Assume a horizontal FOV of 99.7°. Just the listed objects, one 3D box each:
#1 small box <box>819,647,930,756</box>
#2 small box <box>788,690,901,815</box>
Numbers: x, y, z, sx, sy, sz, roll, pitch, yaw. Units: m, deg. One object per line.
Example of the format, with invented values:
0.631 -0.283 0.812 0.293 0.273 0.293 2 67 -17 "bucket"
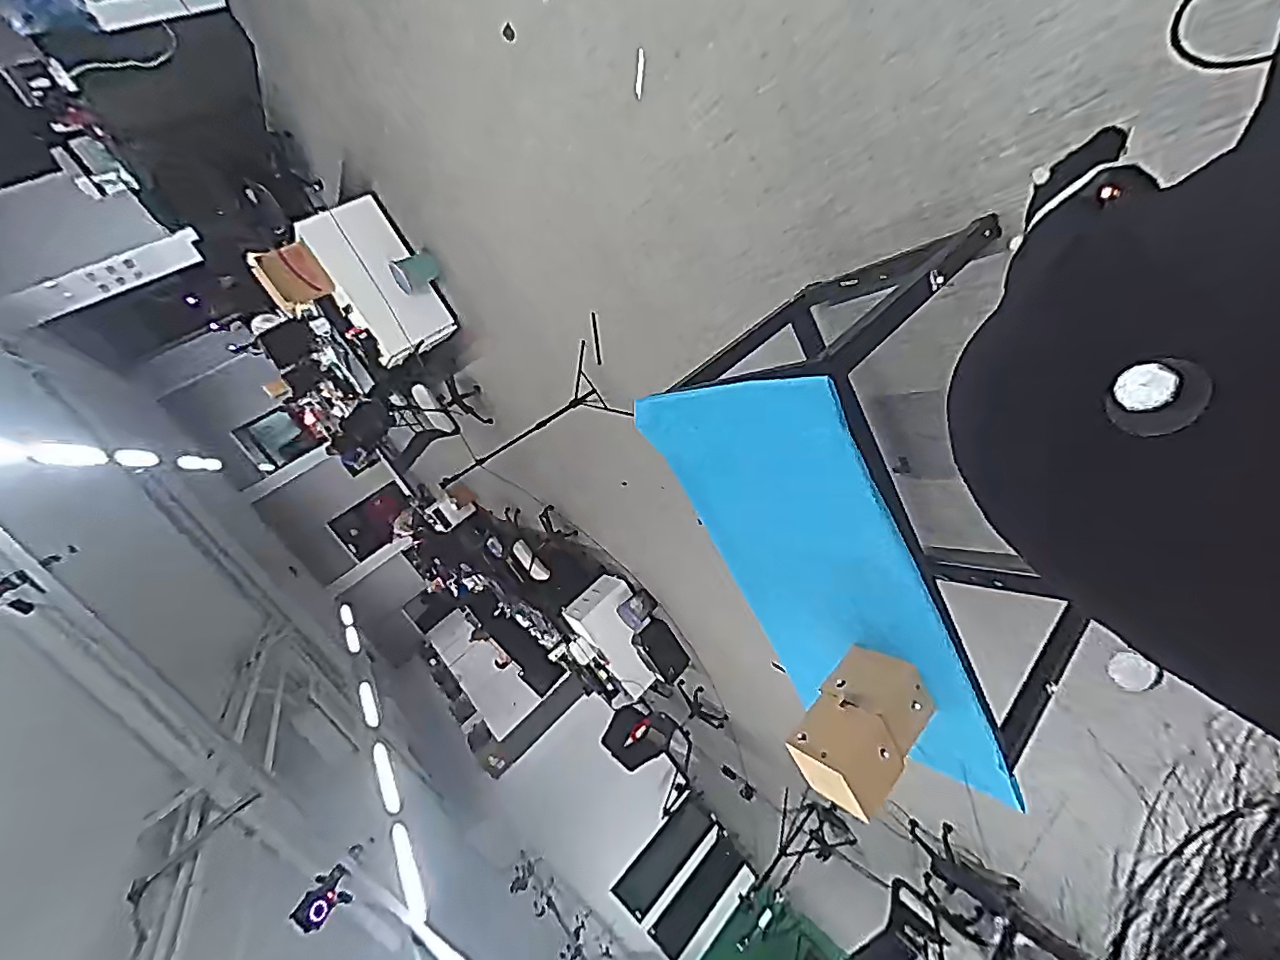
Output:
0.596 0.554 1.371 0.179 0.176 0.168 3 129 56 "small box"
0.482 0.647 1.291 0.168 0.176 0.179 3 127 59 "small box"
